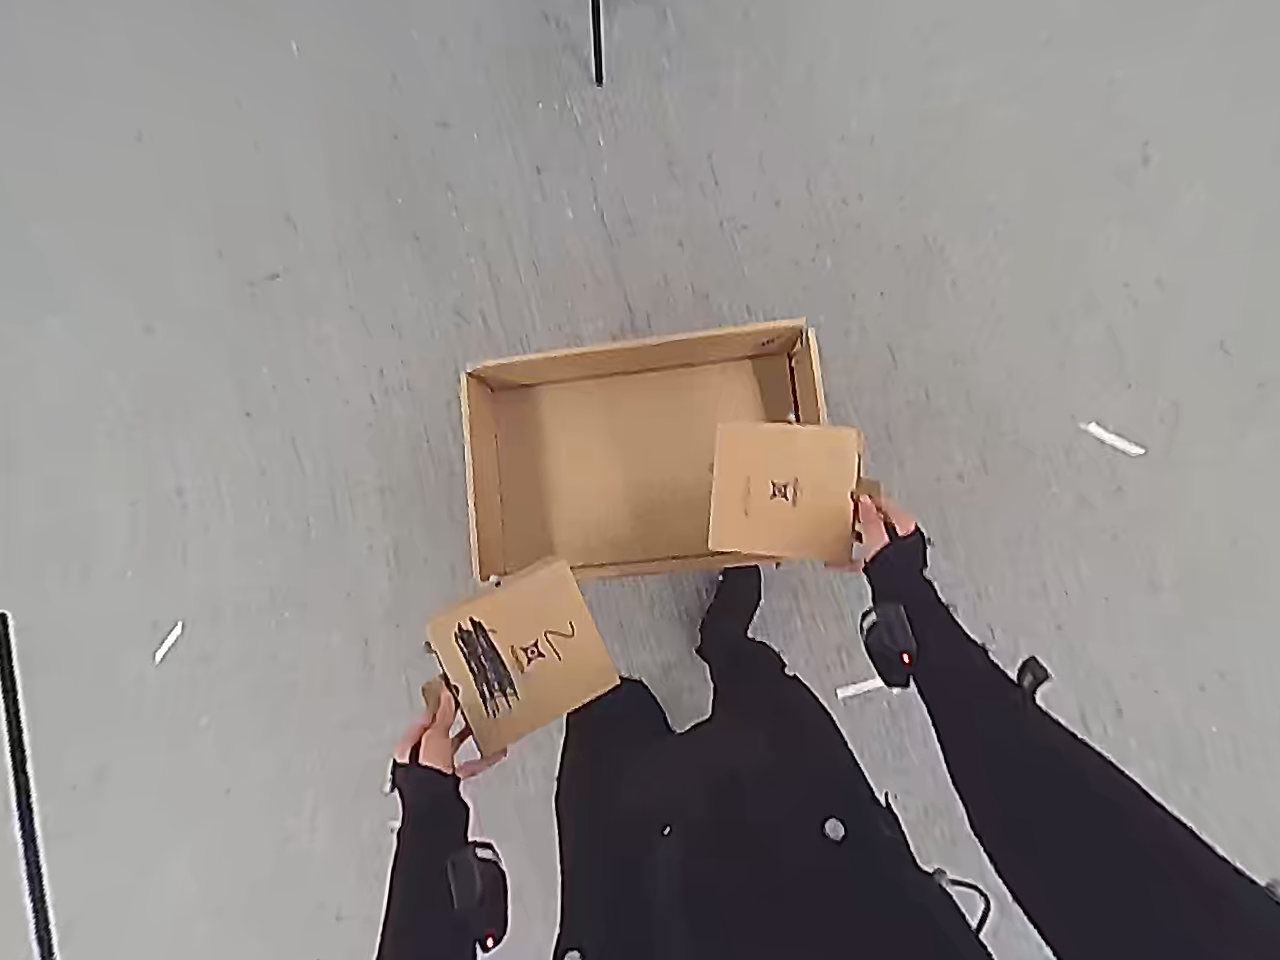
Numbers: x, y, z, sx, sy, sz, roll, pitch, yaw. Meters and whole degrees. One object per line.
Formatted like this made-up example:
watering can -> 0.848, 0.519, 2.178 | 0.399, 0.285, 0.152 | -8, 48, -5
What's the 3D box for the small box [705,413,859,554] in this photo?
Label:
small box -> 0.186, -0.002, 0.744 | 0.179, 0.176, 0.168 | 4, 94, 11
